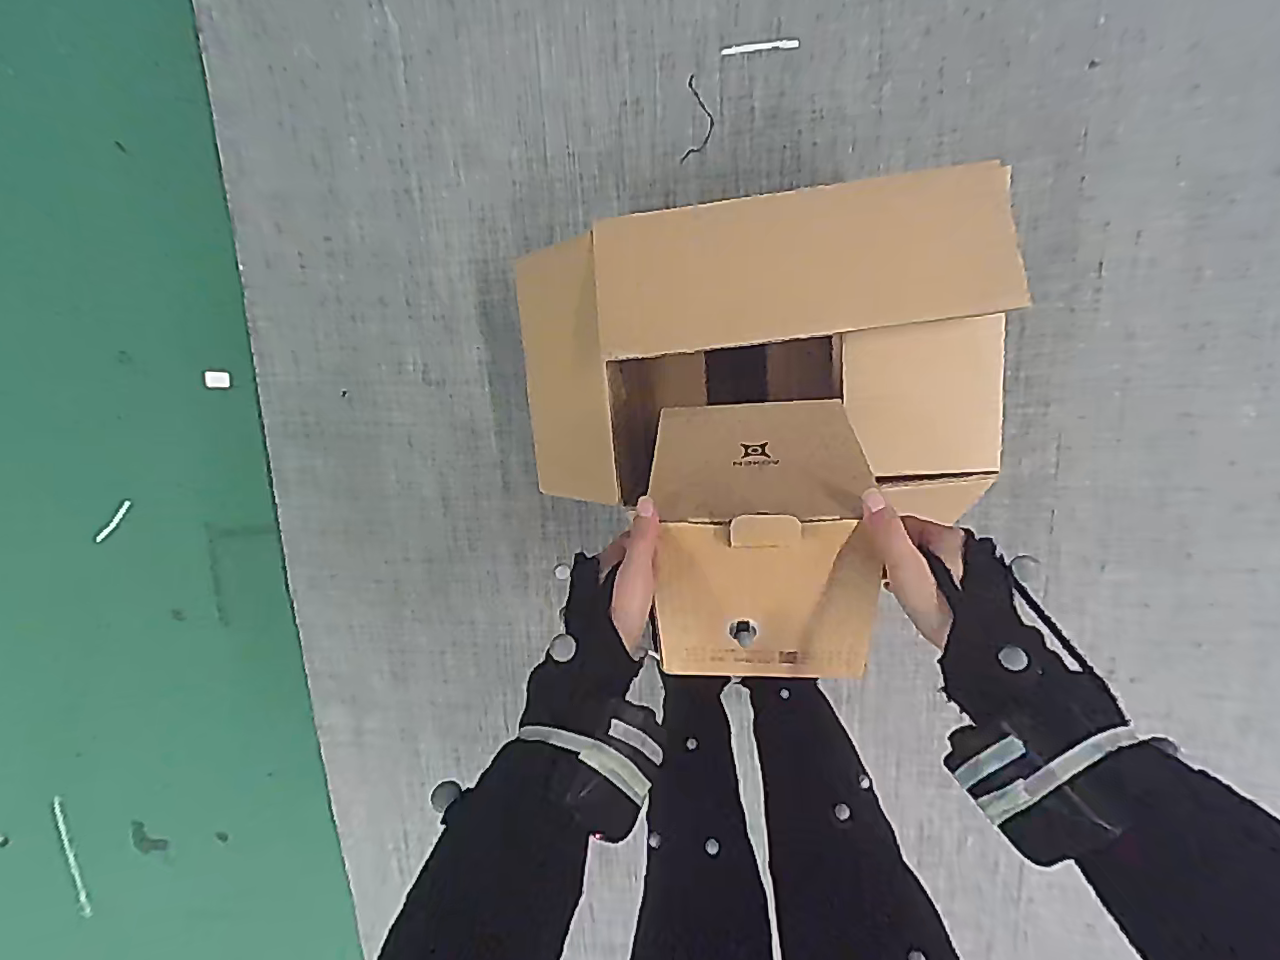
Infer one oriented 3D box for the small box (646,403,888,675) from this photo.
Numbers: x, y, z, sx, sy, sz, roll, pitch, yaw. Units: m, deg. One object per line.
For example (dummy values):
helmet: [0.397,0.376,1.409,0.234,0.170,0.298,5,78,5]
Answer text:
small box: [0.100,0.045,0.480,0.168,0.179,0.176,-2,123,8]
